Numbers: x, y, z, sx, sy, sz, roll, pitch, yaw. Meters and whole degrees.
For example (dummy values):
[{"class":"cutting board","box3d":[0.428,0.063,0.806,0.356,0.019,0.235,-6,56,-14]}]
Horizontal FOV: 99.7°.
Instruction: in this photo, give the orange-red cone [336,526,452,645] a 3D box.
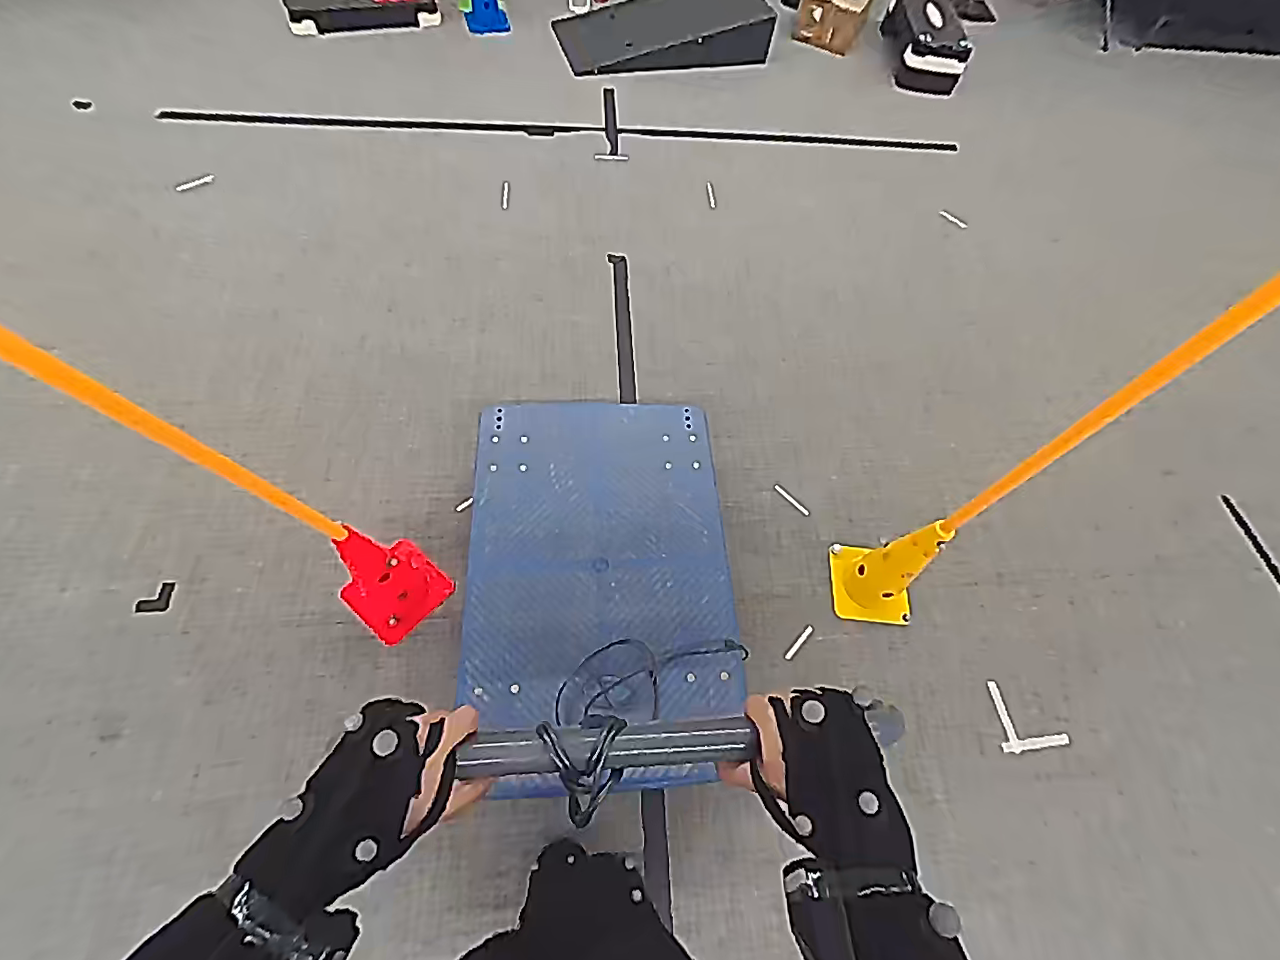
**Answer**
[{"class":"orange-red cone","box3d":[-0.560,0.183,1.145,0.198,0.360,0.199,40,63,14]}]
